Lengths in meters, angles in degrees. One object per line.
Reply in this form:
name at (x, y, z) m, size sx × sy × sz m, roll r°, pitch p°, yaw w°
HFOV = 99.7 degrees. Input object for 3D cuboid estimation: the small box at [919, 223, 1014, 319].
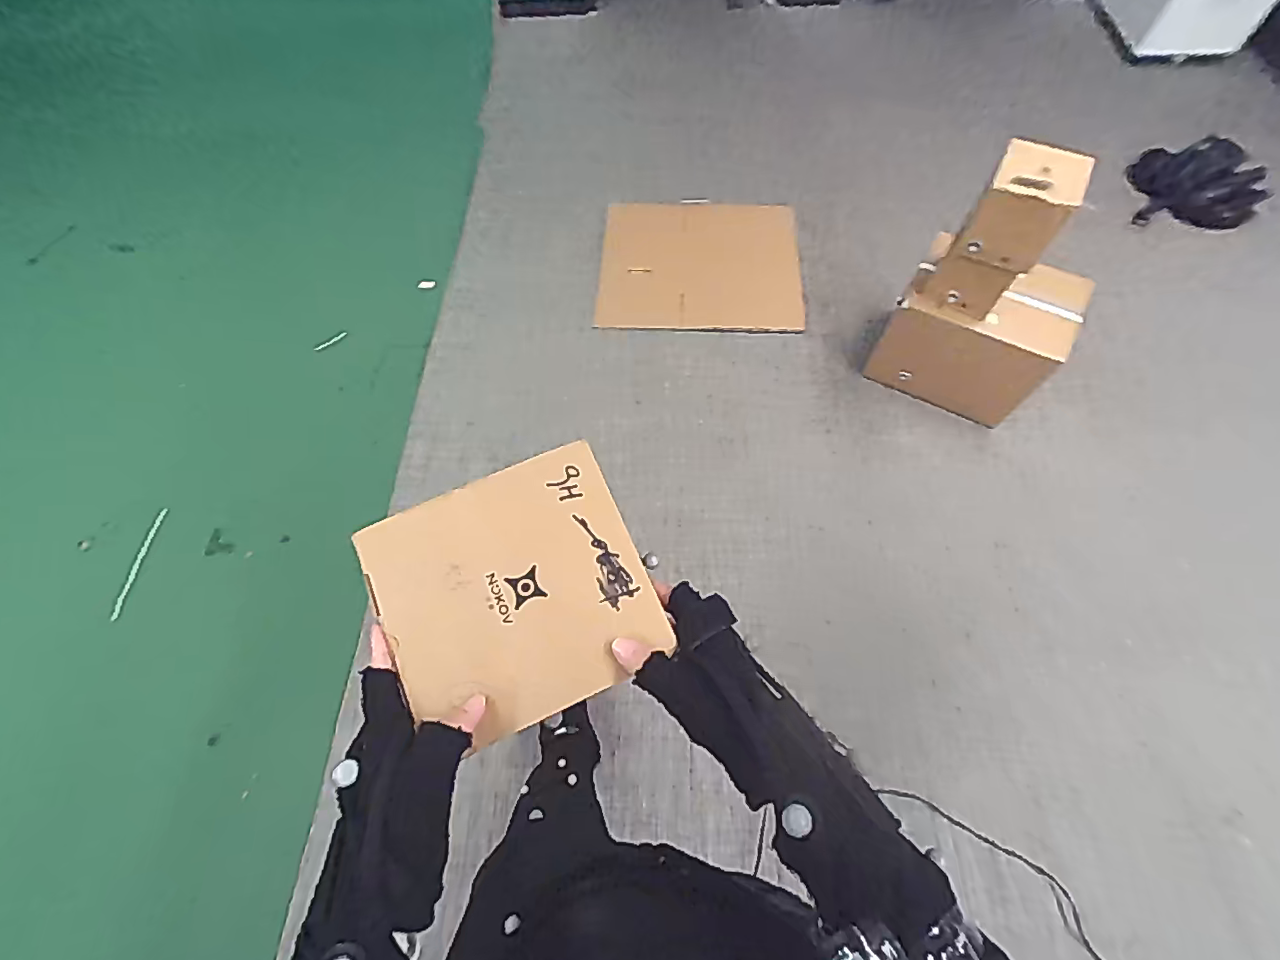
small box at (0.828, -0.538, 1.342) m, size 0.168 × 0.176 × 0.179 m, roll 30°, pitch 71°, yaw 17°

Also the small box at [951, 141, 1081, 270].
small box at (0.815, -0.597, 1.188) m, size 0.168 × 0.176 × 0.179 m, roll 22°, pitch 69°, yaw 14°

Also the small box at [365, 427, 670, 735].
small box at (-0.089, 0.088, 0.456) m, size 0.179 × 0.176 × 0.168 m, roll -25°, pitch 74°, yaw -9°
